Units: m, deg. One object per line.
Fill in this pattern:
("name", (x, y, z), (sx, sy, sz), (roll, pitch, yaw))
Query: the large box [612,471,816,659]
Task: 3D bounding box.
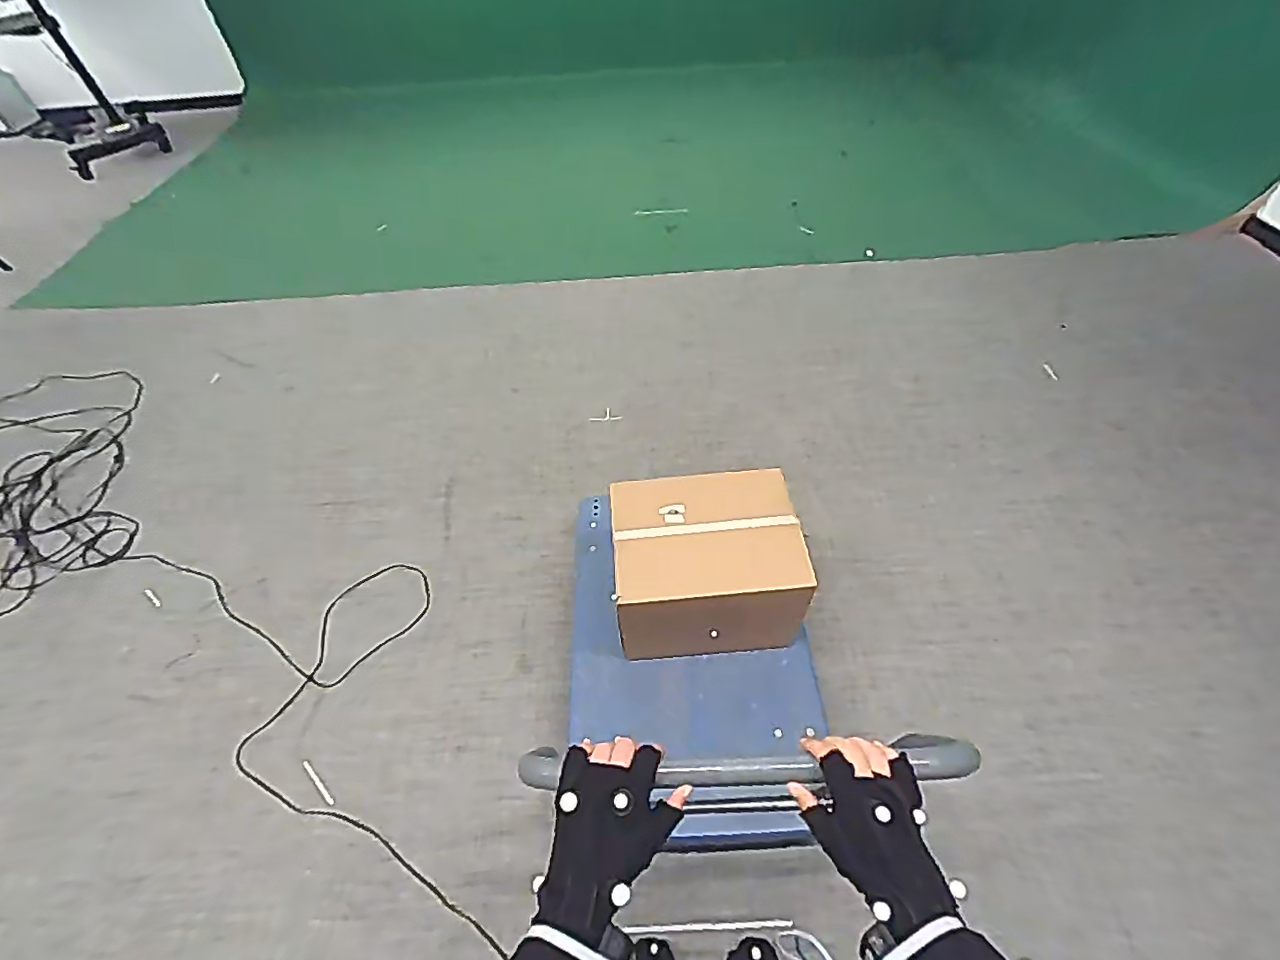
("large box", (0.155, 0.208, 1.292), (0.408, 0.320, 0.320), (-6, 50, -1))
